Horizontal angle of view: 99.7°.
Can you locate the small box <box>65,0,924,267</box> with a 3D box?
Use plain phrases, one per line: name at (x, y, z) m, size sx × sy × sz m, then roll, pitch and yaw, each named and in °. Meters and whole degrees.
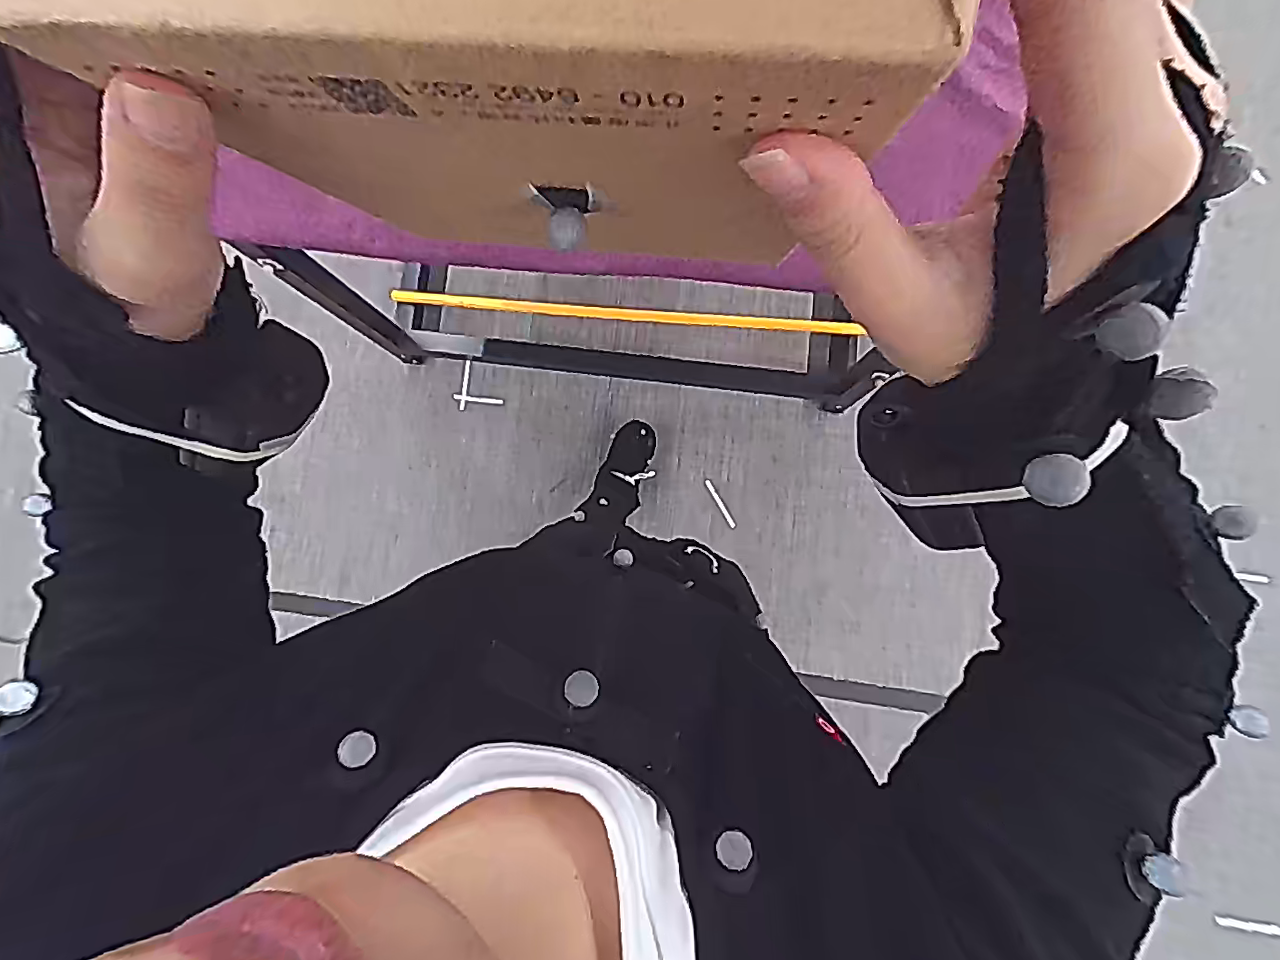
small box at (-0.018, -0.171, 0.151) m, size 0.168 × 0.176 × 0.179 m, roll 6°, pitch 102°, yaw 3°
